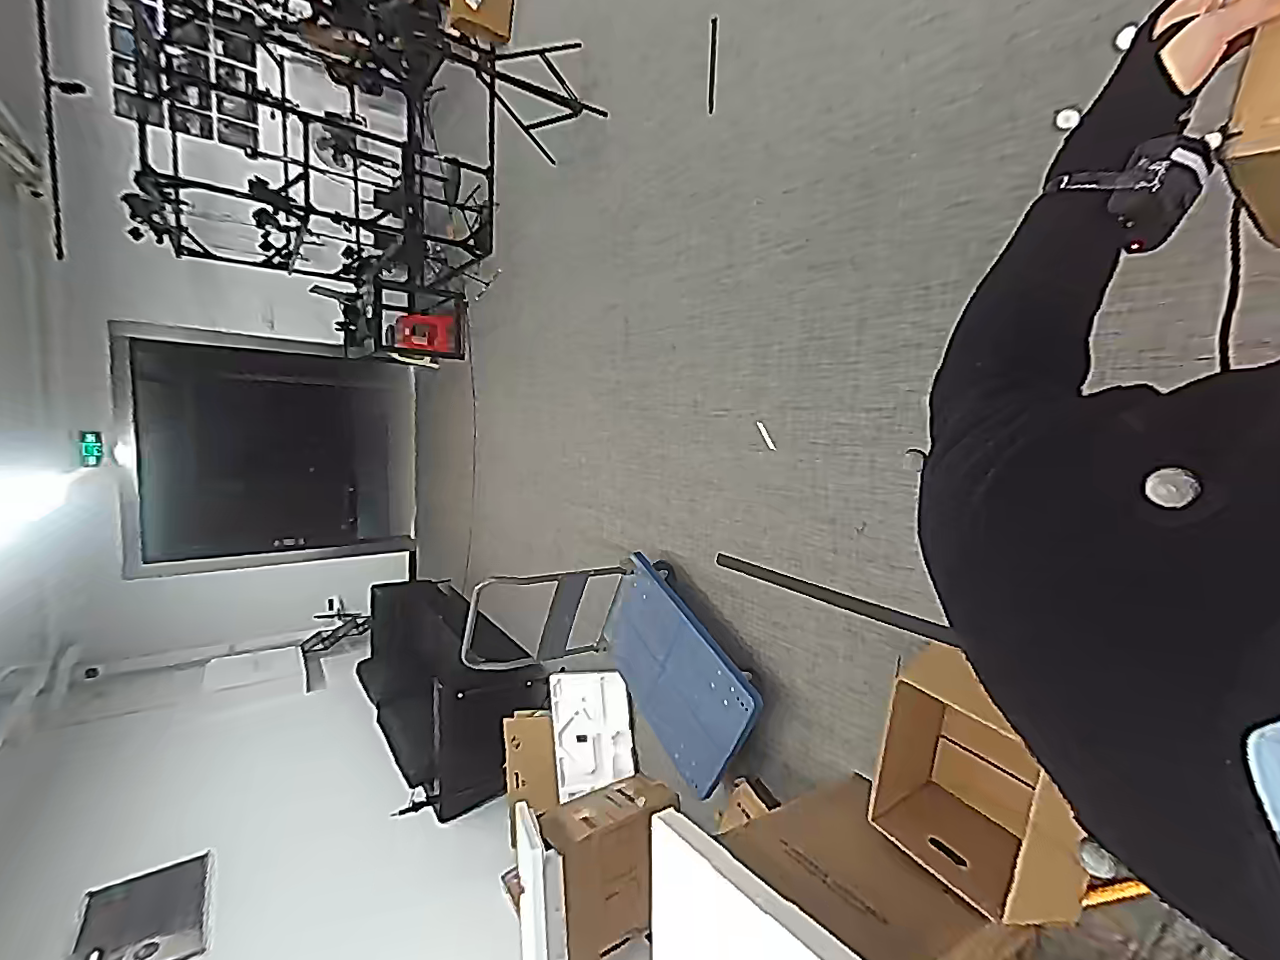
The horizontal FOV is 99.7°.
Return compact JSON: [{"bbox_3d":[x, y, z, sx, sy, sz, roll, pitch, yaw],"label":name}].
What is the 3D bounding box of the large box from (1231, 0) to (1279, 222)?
[{"bbox_3d":[0.685,-0.349,0.297,0.408,0.320,0.320,21,108,53],"label":"large box"}]
